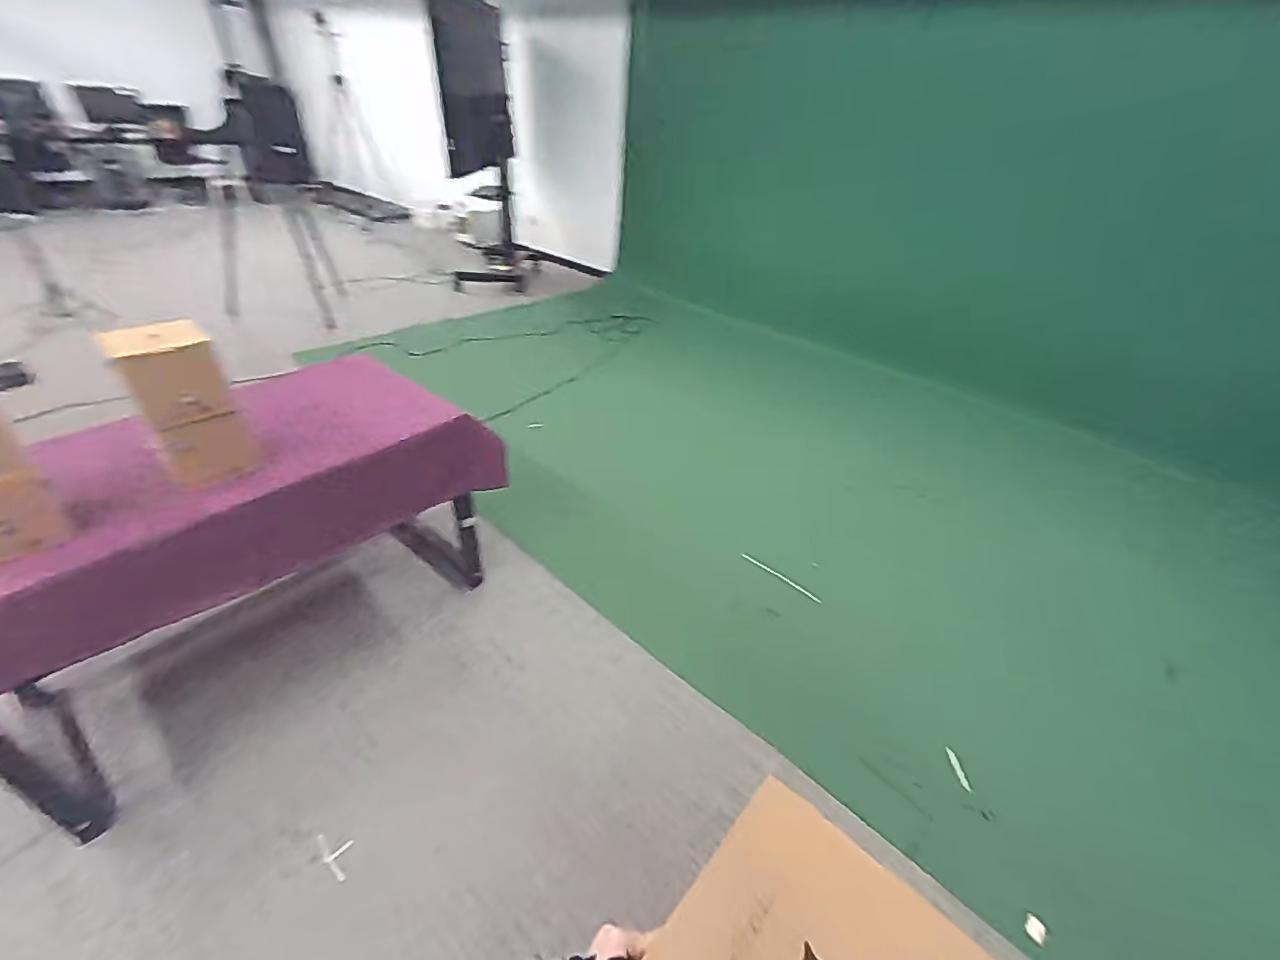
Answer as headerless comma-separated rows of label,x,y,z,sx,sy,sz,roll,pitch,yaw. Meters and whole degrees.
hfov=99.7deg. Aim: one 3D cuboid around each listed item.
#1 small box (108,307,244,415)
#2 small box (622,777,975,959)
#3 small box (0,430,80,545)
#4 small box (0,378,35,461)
small box,-1.017,-0.264,1.193,0.179,0.176,0.168,33,44,32
small box,0.105,0.368,0.392,0.179,0.176,0.168,31,52,33
small box,-1.254,0.014,1.058,0.179,0.176,0.168,32,42,30
small box,-1.245,-0.123,0.967,0.179,0.176,0.168,31,43,32
